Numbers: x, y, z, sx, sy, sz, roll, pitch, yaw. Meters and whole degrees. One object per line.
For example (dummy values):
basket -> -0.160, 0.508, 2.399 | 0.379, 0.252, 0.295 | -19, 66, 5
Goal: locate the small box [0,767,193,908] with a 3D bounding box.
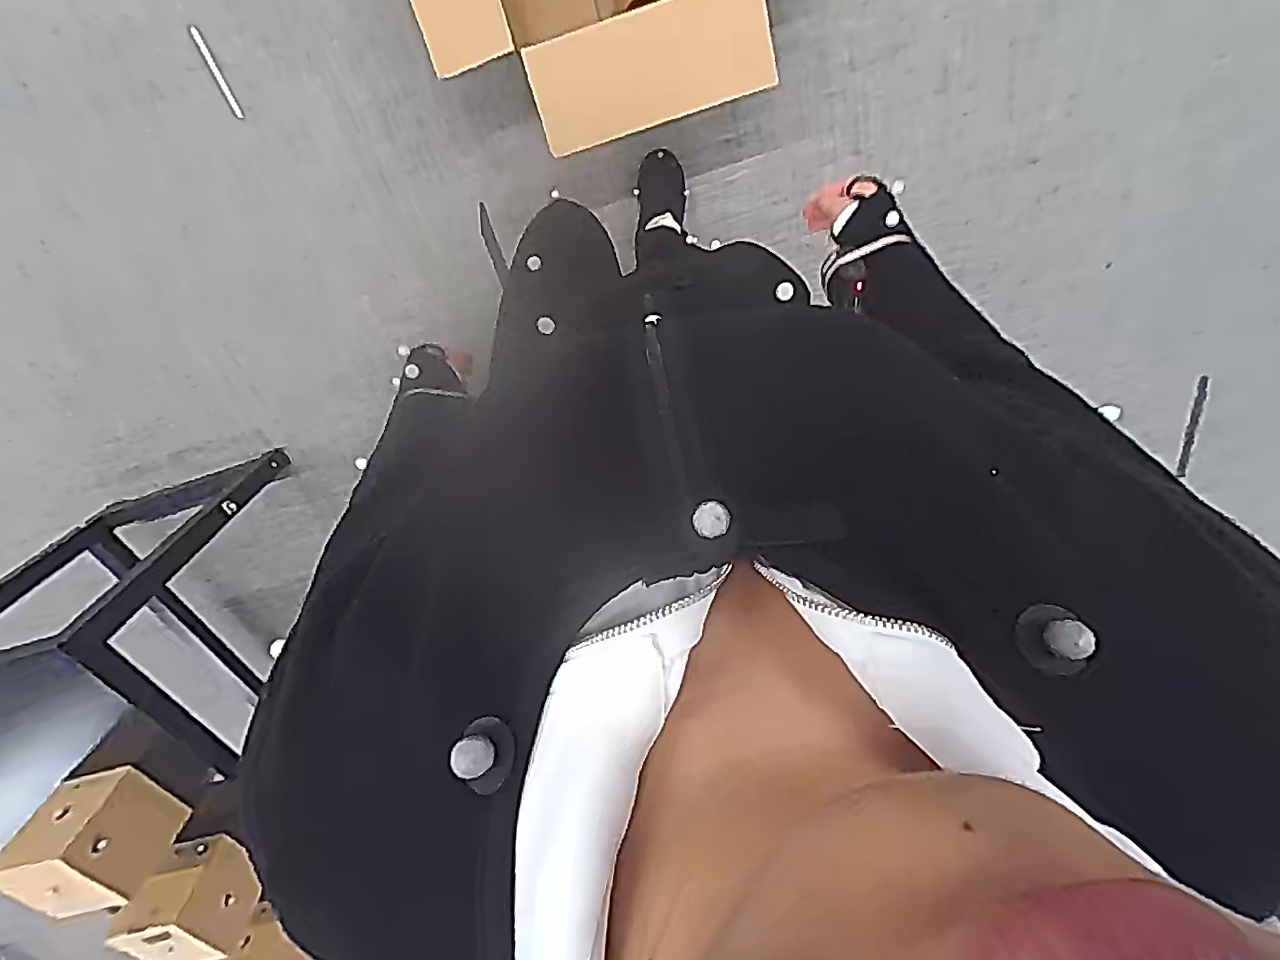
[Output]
small box -> -1.035, 0.677, 1.040 | 0.168, 0.176, 0.179 | -15, 121, 7

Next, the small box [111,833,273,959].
small box -> -0.960, 0.897, 1.178 | 0.168, 0.176, 0.179 | -15, 122, 6
